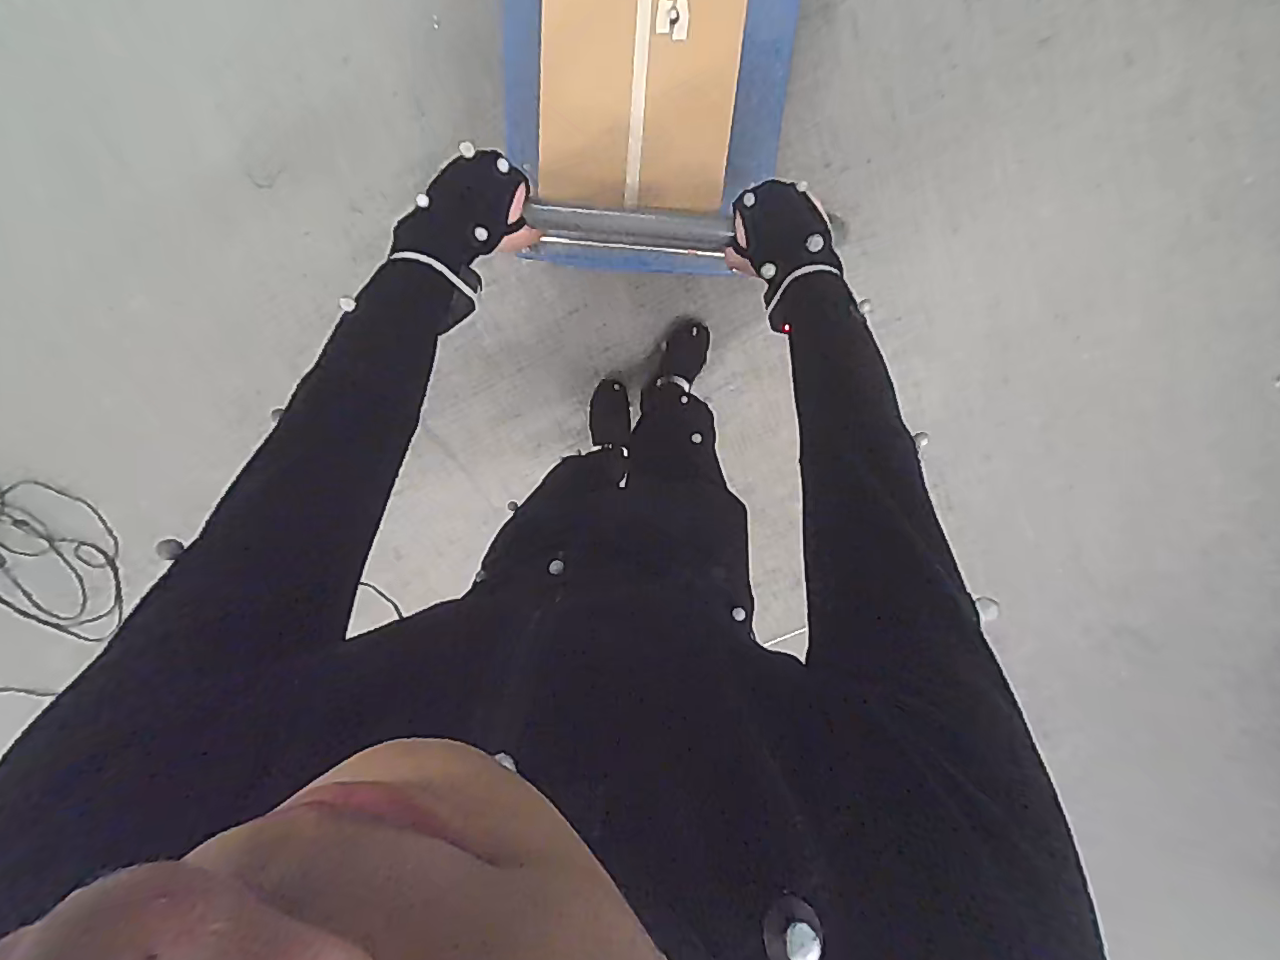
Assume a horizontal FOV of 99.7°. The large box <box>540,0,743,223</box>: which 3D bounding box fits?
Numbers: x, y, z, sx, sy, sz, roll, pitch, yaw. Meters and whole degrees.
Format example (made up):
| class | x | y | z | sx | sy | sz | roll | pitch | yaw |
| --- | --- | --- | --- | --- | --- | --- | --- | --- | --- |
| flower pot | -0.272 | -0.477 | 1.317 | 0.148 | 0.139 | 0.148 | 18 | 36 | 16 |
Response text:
| class | x | y | z | sx | sy | sz | roll | pitch | yaw |
| --- | --- | --- | --- | --- | --- | --- | --- | --- | --- |
| large box | 0.000 | -0.718 | 1.005 | 0.320 | 0.320 | 0.408 | 5 | 111 | -2 |
